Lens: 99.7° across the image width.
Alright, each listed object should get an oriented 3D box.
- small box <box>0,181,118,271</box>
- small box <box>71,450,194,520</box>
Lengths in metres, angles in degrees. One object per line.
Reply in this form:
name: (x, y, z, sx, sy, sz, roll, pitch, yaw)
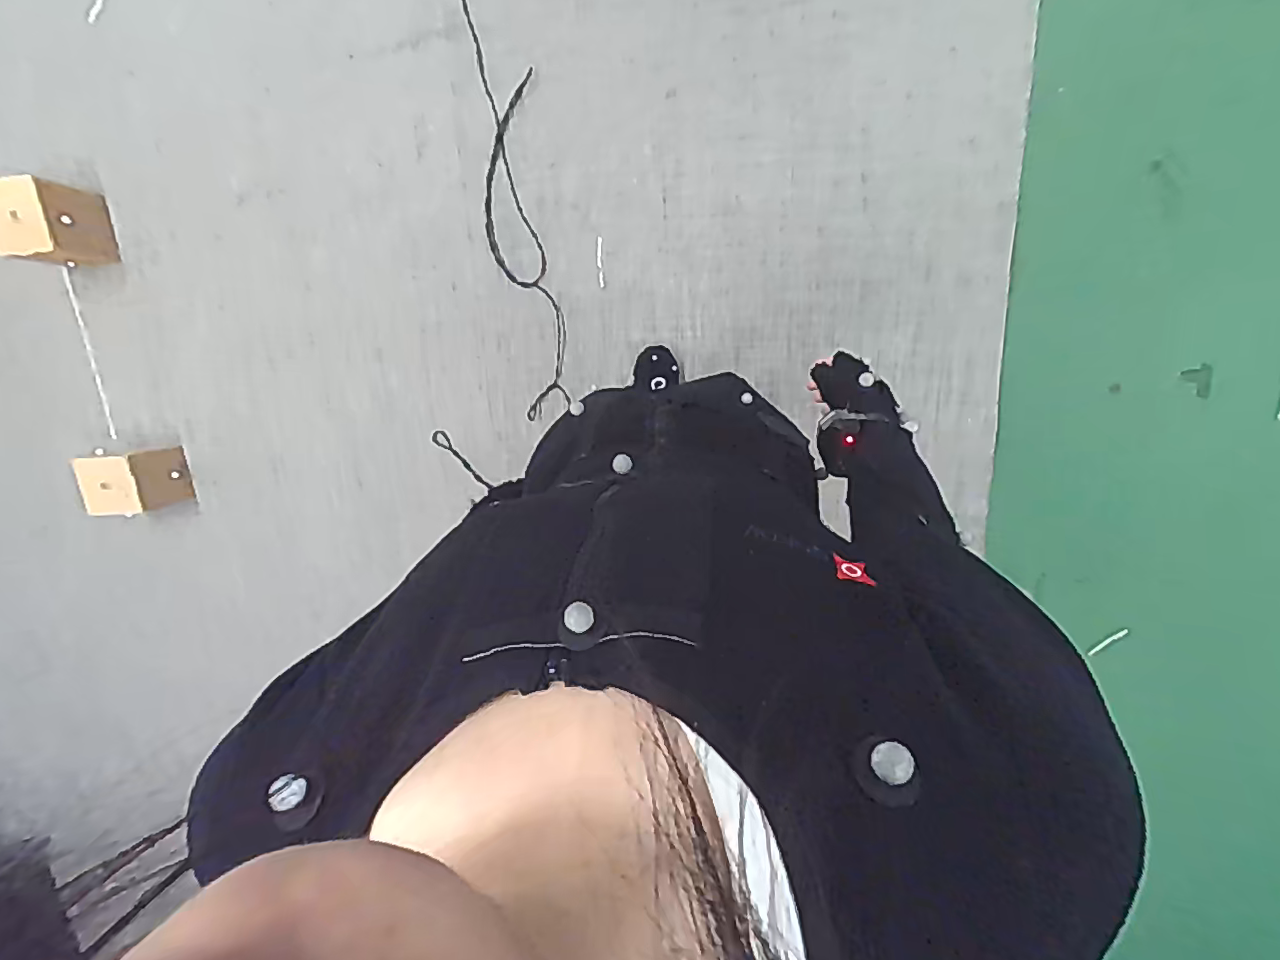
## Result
small box: (-1.527, -0.651, 1.400, 0.168, 0.176, 0.179, -3, 104, 6)
small box: (-1.455, 0.012, 1.561, 0.179, 0.176, 0.168, -3, 104, 6)
